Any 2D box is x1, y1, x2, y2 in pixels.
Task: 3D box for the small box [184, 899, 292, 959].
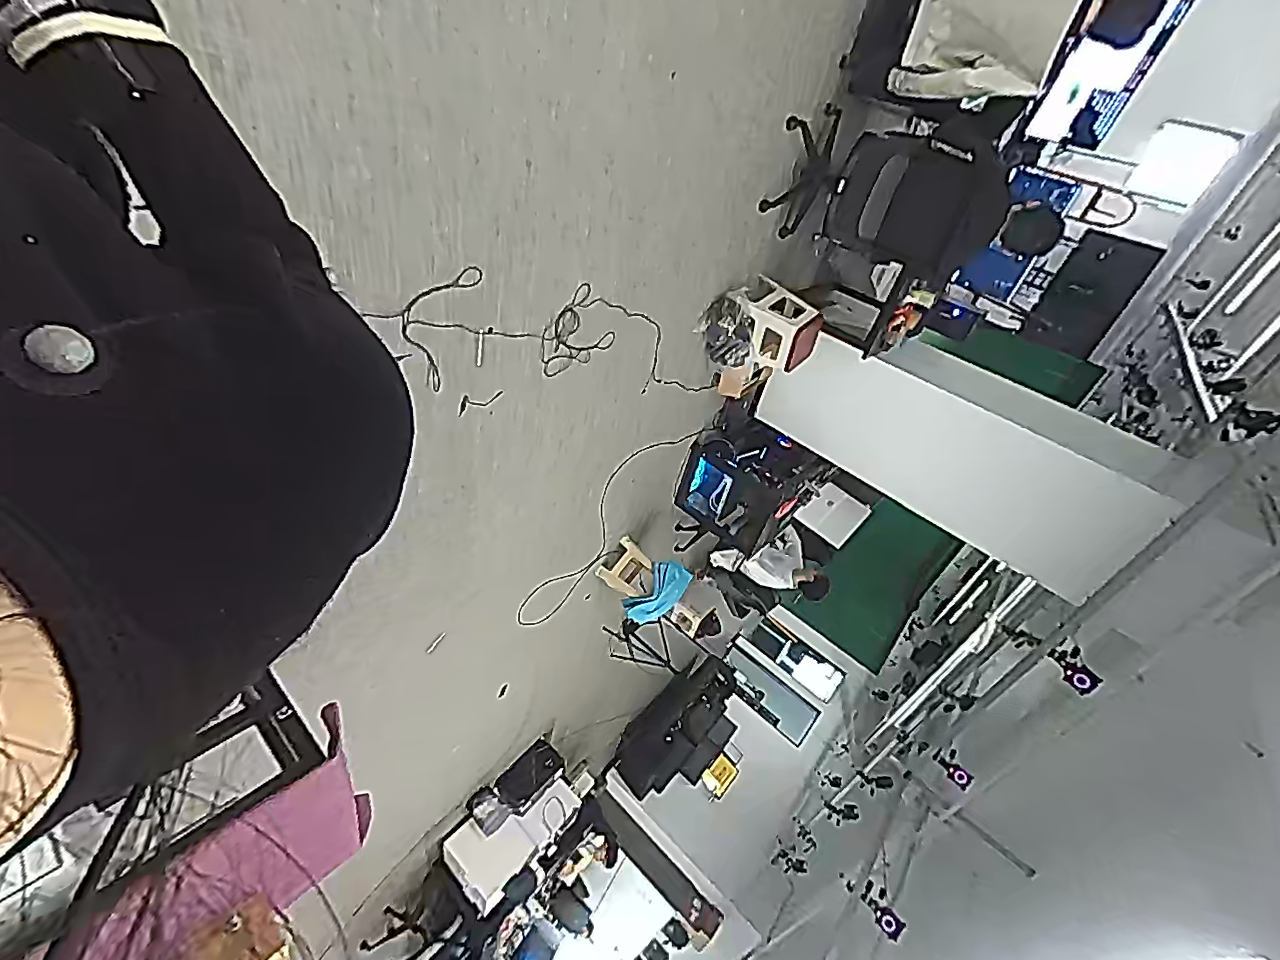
[{"bbox_3d":[-0.987,1.197,1.336,0.168,0.176,0.179,-24,139,-49],"label":"small box"}]
